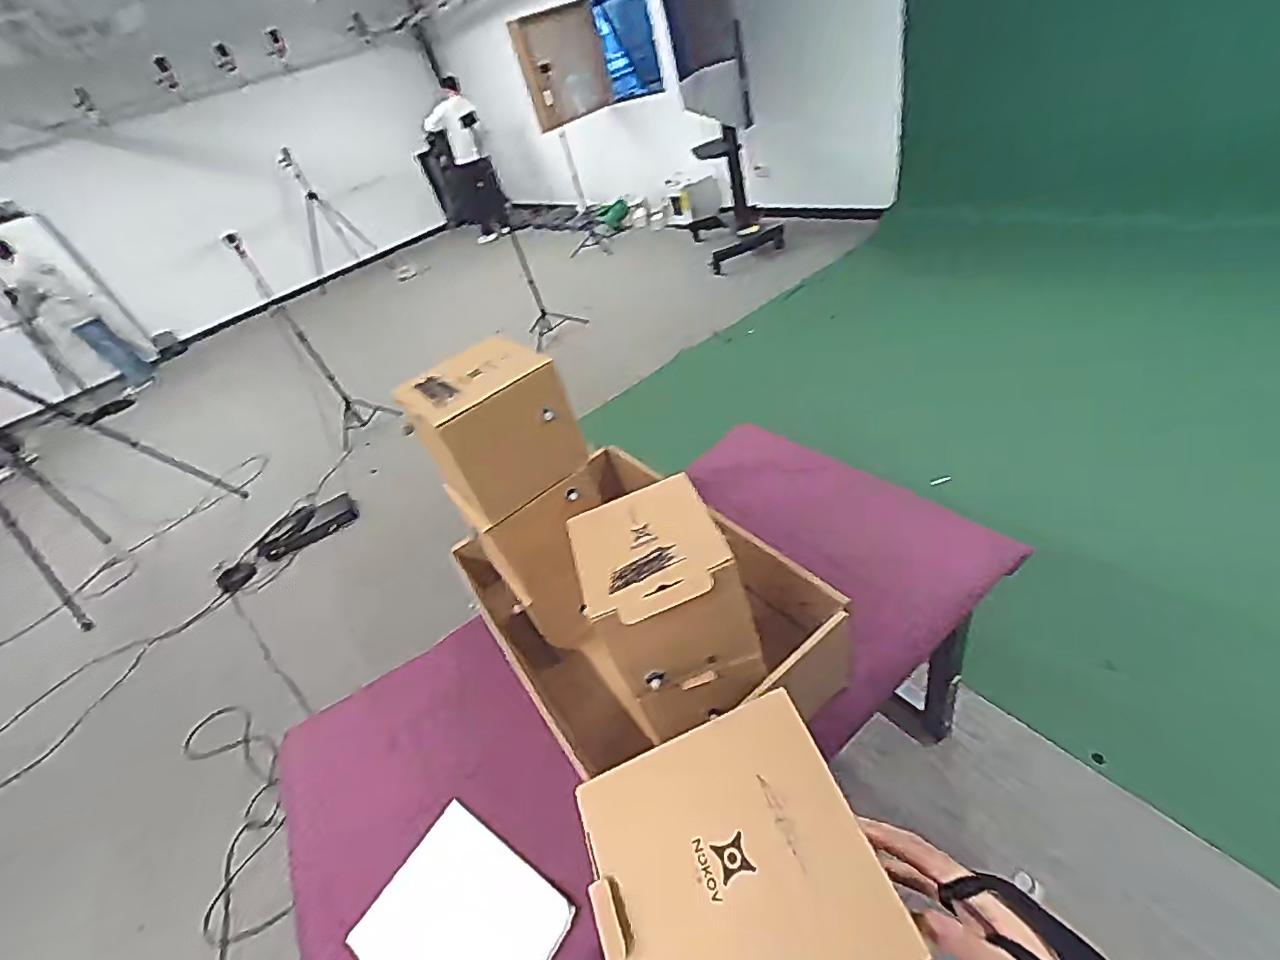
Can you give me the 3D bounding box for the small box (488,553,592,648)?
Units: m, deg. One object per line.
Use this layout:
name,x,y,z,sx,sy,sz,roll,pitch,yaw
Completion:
small box,-0.140,0.172,0.965,0.168,0.176,0.179,-34,42,-18

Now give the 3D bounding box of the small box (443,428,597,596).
small box,-0.175,0.051,0.863,0.179,0.176,0.168,-36,42,-20

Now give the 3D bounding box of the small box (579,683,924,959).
small box,0.079,0.289,0.408,0.179,0.176,0.168,-25,49,0

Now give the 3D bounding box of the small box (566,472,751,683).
small box,0.023,0.126,0.676,0.168,0.176,0.179,-22,36,-1
